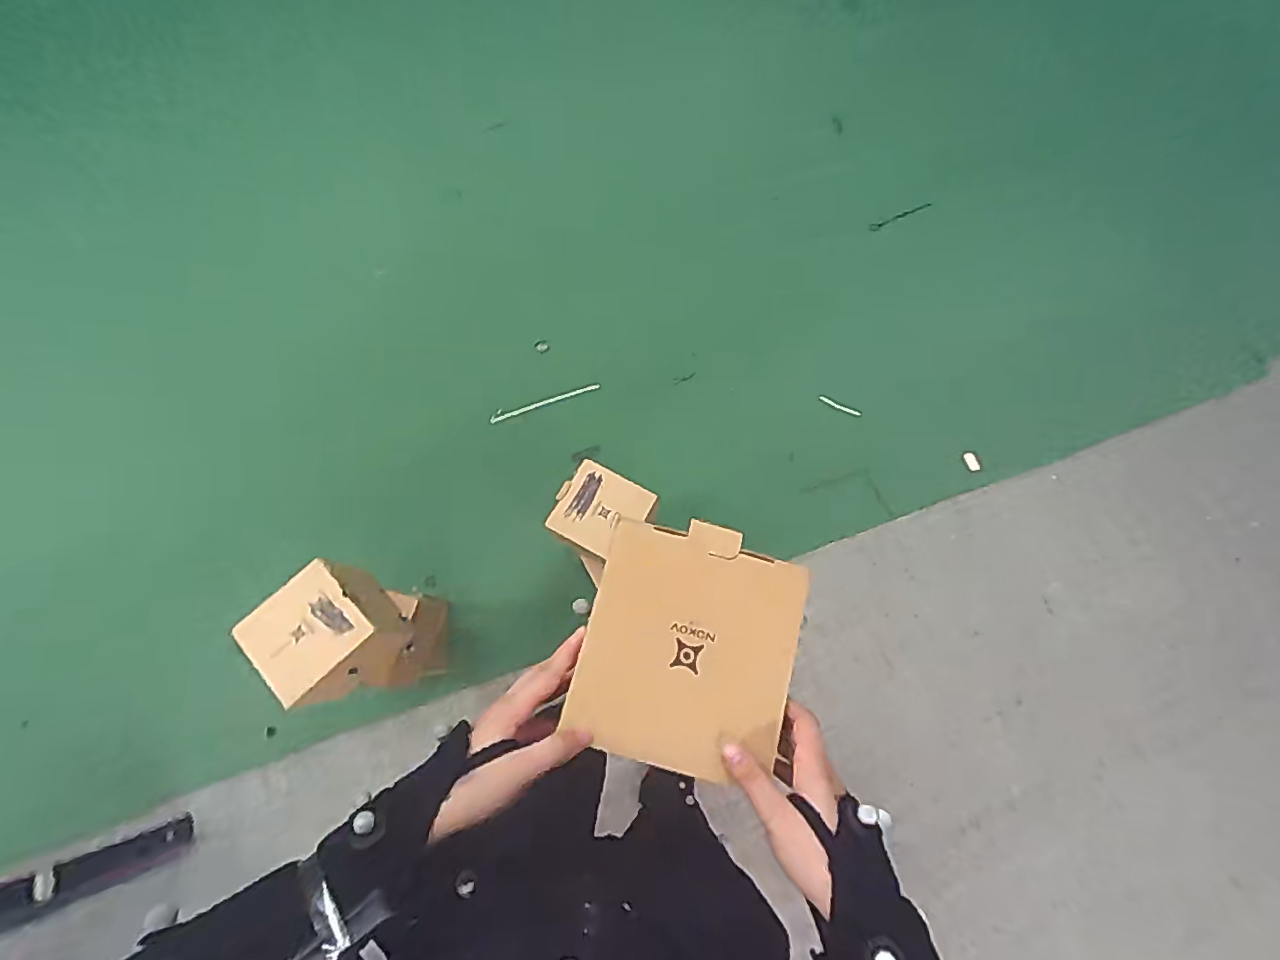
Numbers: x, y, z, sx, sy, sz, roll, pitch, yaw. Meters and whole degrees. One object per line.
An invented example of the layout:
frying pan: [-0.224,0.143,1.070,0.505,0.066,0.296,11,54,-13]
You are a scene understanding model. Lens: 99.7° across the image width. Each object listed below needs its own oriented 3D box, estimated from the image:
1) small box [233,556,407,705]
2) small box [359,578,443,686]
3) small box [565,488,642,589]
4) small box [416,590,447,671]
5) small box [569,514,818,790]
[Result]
small box: [-0.536,0.257,0.941,0.179,0.176,0.168,-42,78,-10]
small box: [-0.526,0.302,1.099,0.168,0.176,0.179,16,73,4]
small box: [-0.064,0.150,1.310,0.168,0.176,0.179,-28,74,-8]
small box: [-0.557,0.355,1.253,0.168,0.176,0.179,-4,73,-2]
small box: [0.042,0.147,0.497,0.168,0.176,0.179,14,75,0]
